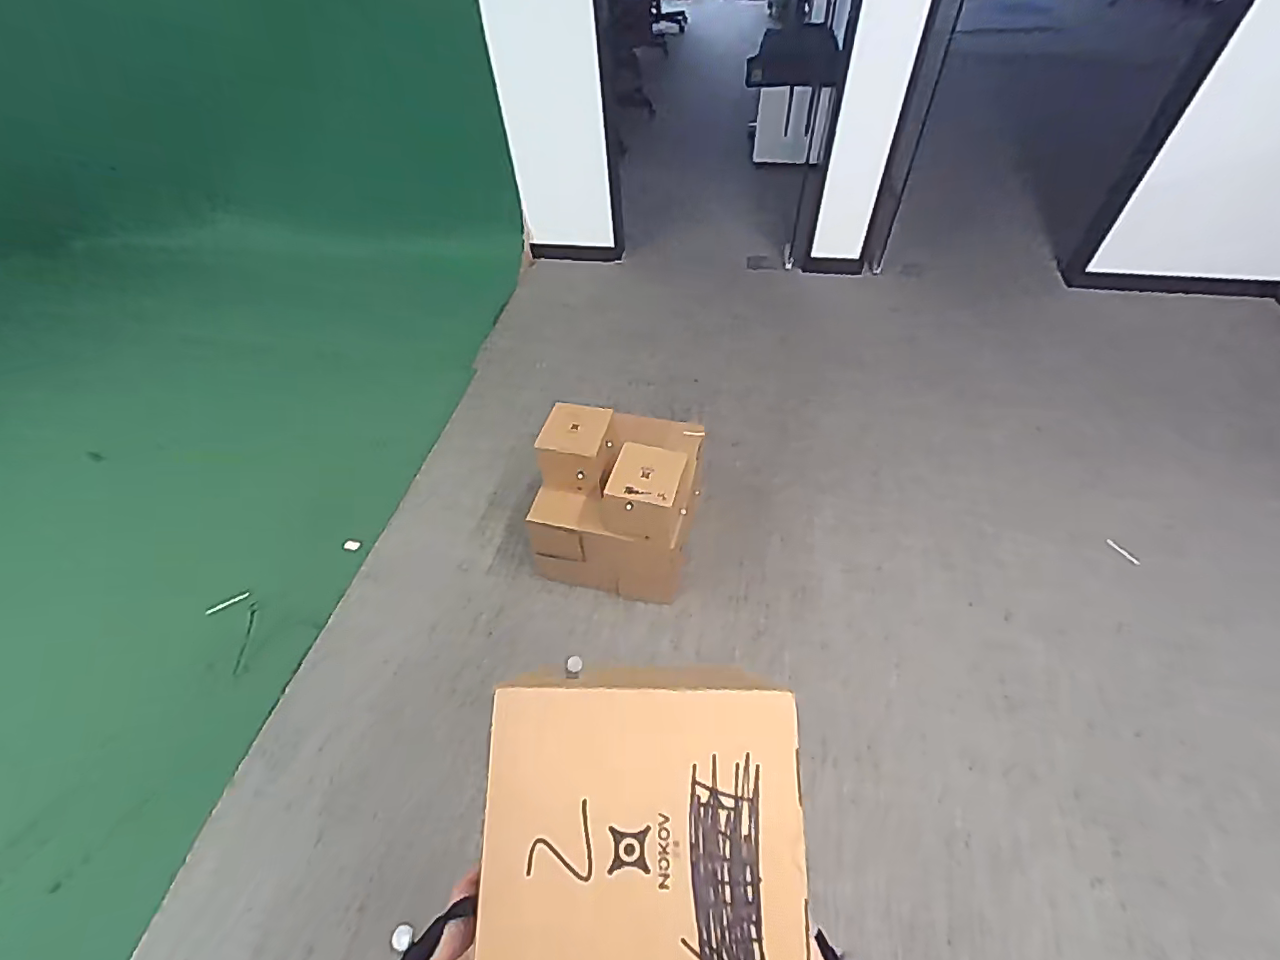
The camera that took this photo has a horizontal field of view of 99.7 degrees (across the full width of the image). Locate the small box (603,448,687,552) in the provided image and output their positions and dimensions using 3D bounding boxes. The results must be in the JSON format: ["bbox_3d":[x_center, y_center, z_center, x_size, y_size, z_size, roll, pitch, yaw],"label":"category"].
[{"bbox_3d":[0.015,0.051,1.351,0.168,0.176,0.179,11,50,12],"label":"small box"}]

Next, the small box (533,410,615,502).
[{"bbox_3d":[-0.170,-0.063,1.466,0.168,0.176,0.179,10,49,11],"label":"small box"}]
